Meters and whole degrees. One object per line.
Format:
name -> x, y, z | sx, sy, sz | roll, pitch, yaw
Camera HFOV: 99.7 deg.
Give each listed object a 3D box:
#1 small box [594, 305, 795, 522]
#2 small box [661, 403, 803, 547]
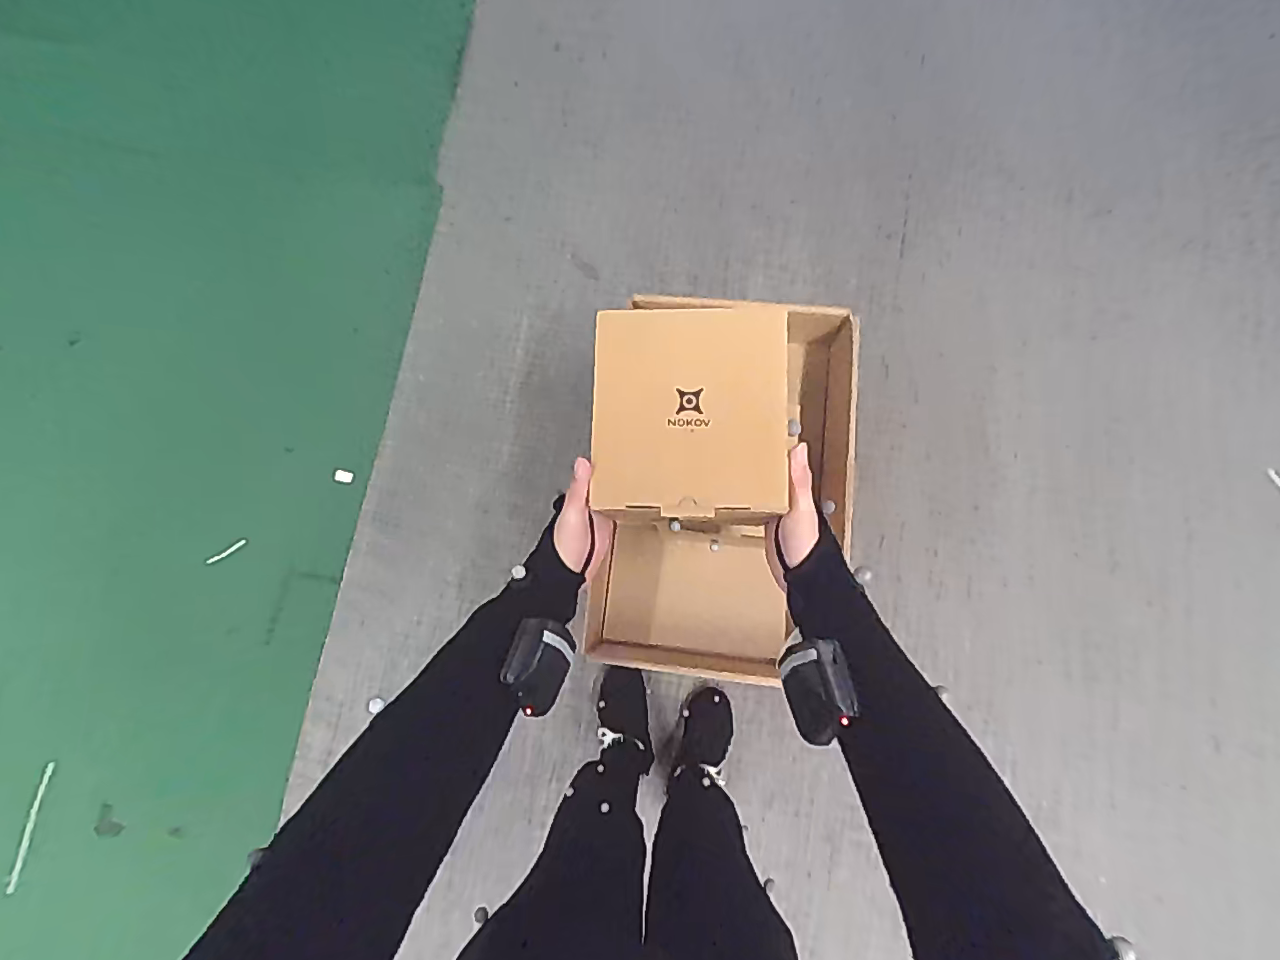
small box -> 0.049, -0.052, 0.527 | 0.168, 0.176, 0.179 | 0, 84, 4
small box -> 0.118, -0.006, 0.750 | 0.168, 0.176, 0.179 | 6, 81, 5
